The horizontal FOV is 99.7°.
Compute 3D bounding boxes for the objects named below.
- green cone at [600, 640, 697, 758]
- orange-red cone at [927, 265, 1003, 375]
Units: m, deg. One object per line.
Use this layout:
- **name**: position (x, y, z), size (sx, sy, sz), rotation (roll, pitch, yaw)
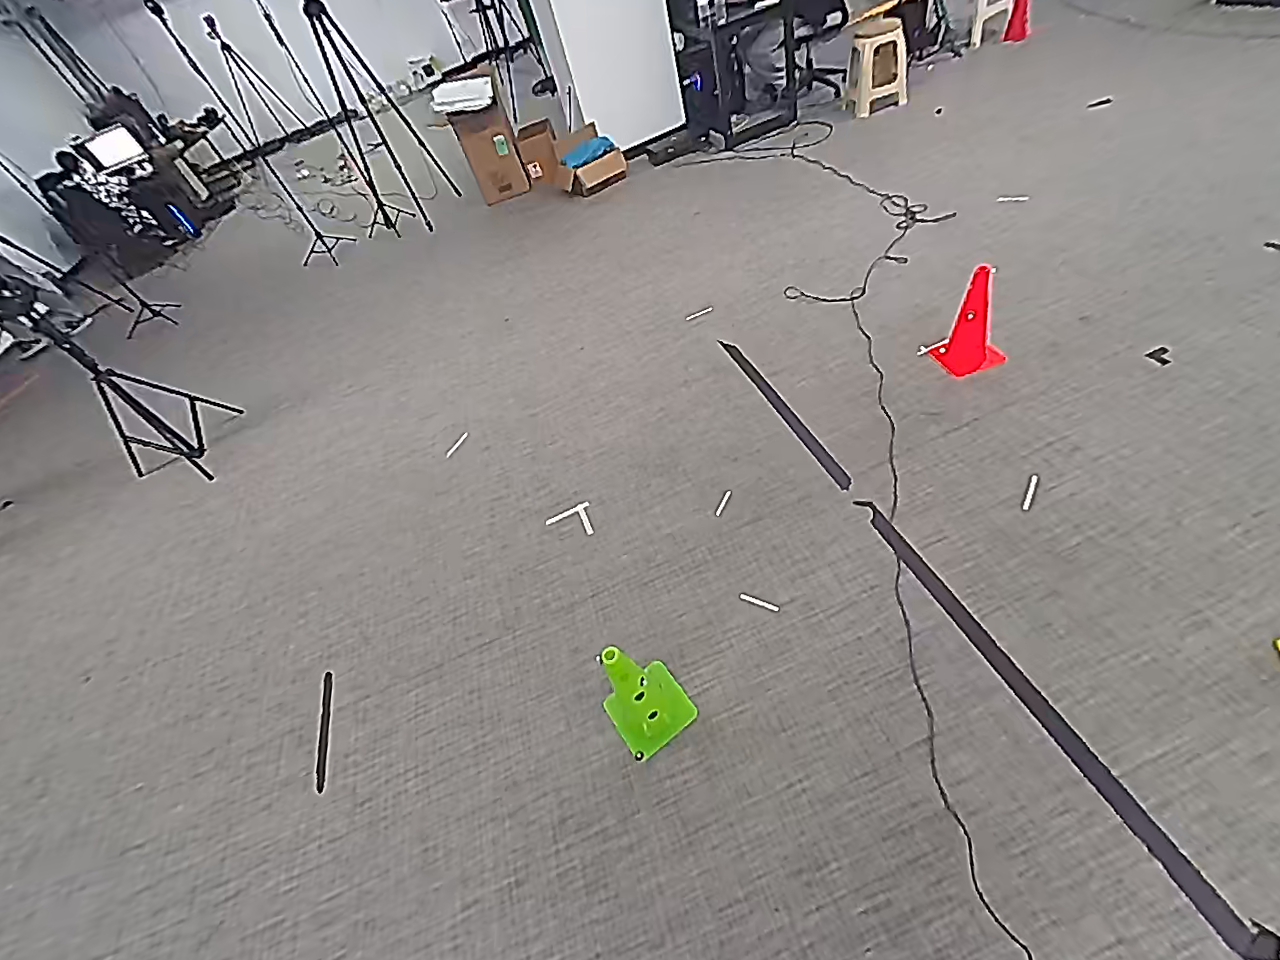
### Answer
- **green cone**: position (-0.019, 0.498, 1.339), size (0.200, 0.368, 0.202), rotation (-35, 46, -13)
- **orange-red cone**: position (1.160, -0.579, 1.887), size (0.198, 0.360, 0.199), rotation (-19, 47, 4)
